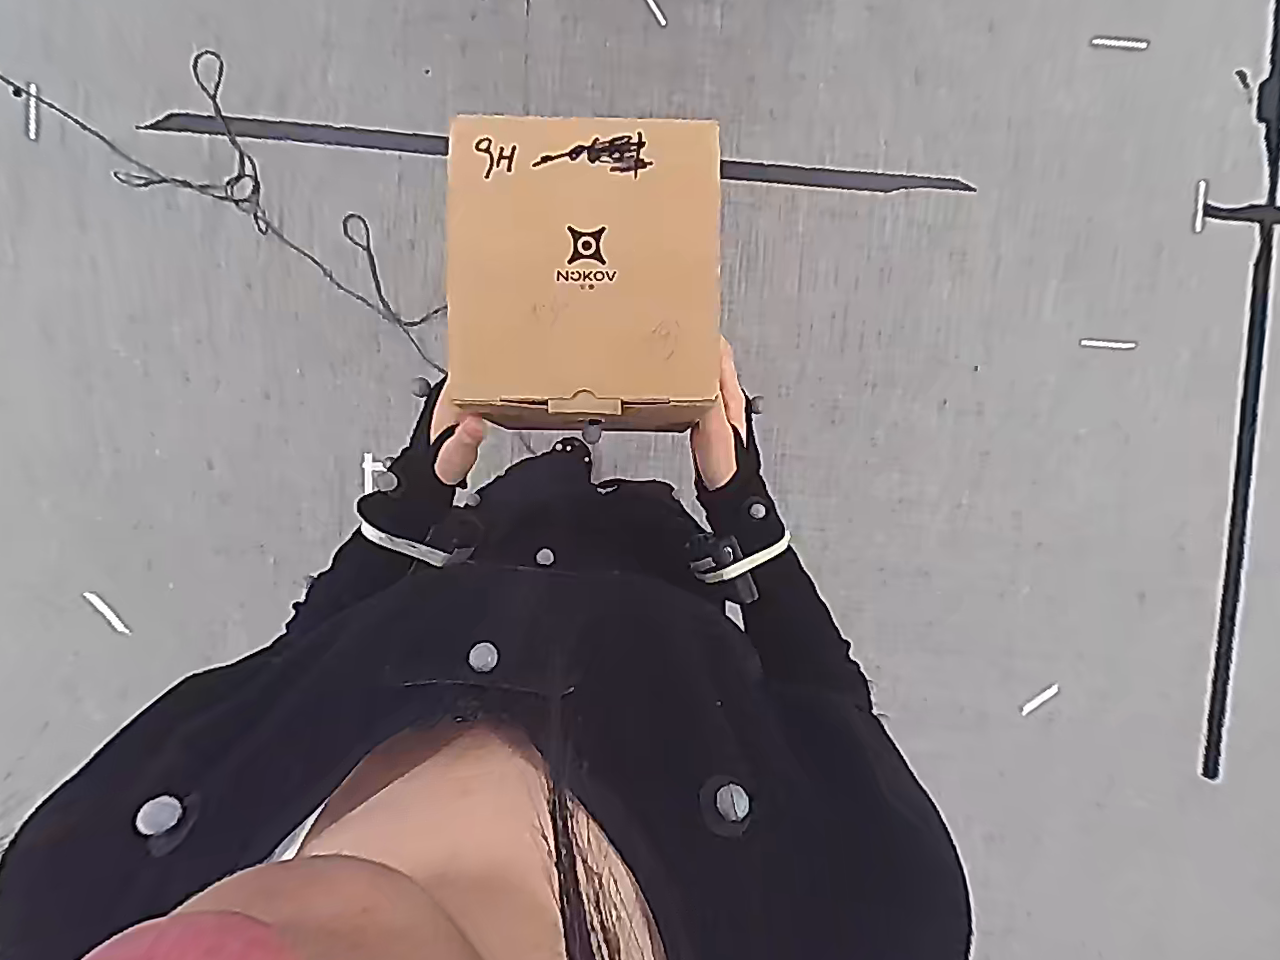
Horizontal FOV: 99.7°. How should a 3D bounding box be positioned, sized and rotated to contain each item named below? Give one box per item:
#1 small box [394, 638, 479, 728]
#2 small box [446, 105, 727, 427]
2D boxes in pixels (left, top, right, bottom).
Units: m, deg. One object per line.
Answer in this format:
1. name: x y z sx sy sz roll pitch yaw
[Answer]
1. small box: -0.520 0.516 1.398 0.168 0.176 0.179 0 93 -2
2. small box: -0.034 -0.132 0.399 0.168 0.176 0.179 1 90 -3
